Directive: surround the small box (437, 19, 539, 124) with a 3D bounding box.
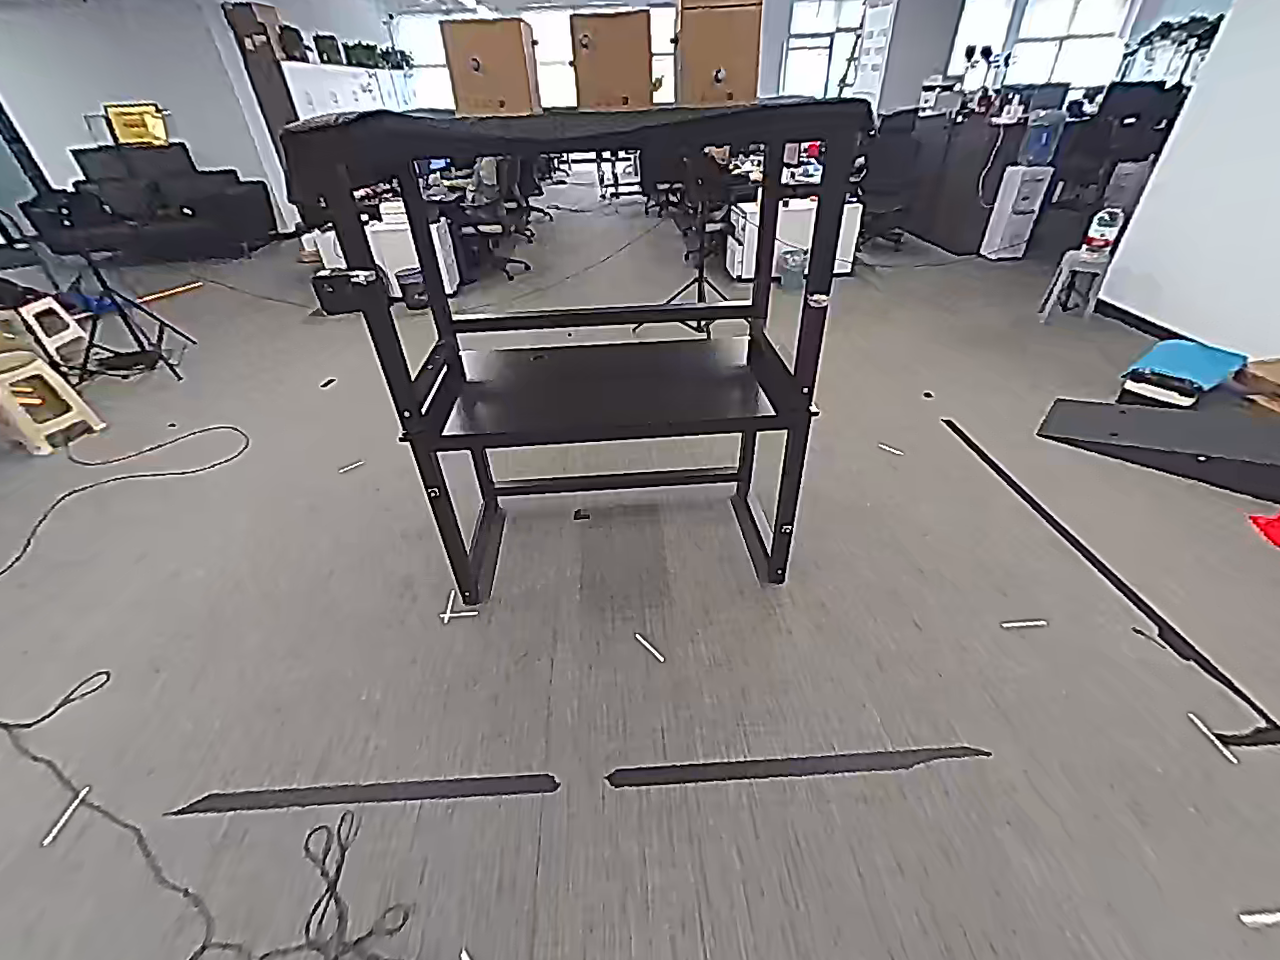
[{"bbox_3d":[-0.323,-0.892,1.191,0.168,0.176,0.179,-2,34,0],"label":"small box"}]

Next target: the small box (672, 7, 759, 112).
[{"bbox_3d":[0.158,-0.913,1.187,0.168,0.176,0.179,-4,35,0],"label":"small box"}]

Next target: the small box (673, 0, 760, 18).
[{"bbox_3d":[0.152,-1.047,1.093,0.168,0.176,0.179,-3,36,0],"label":"small box"}]
